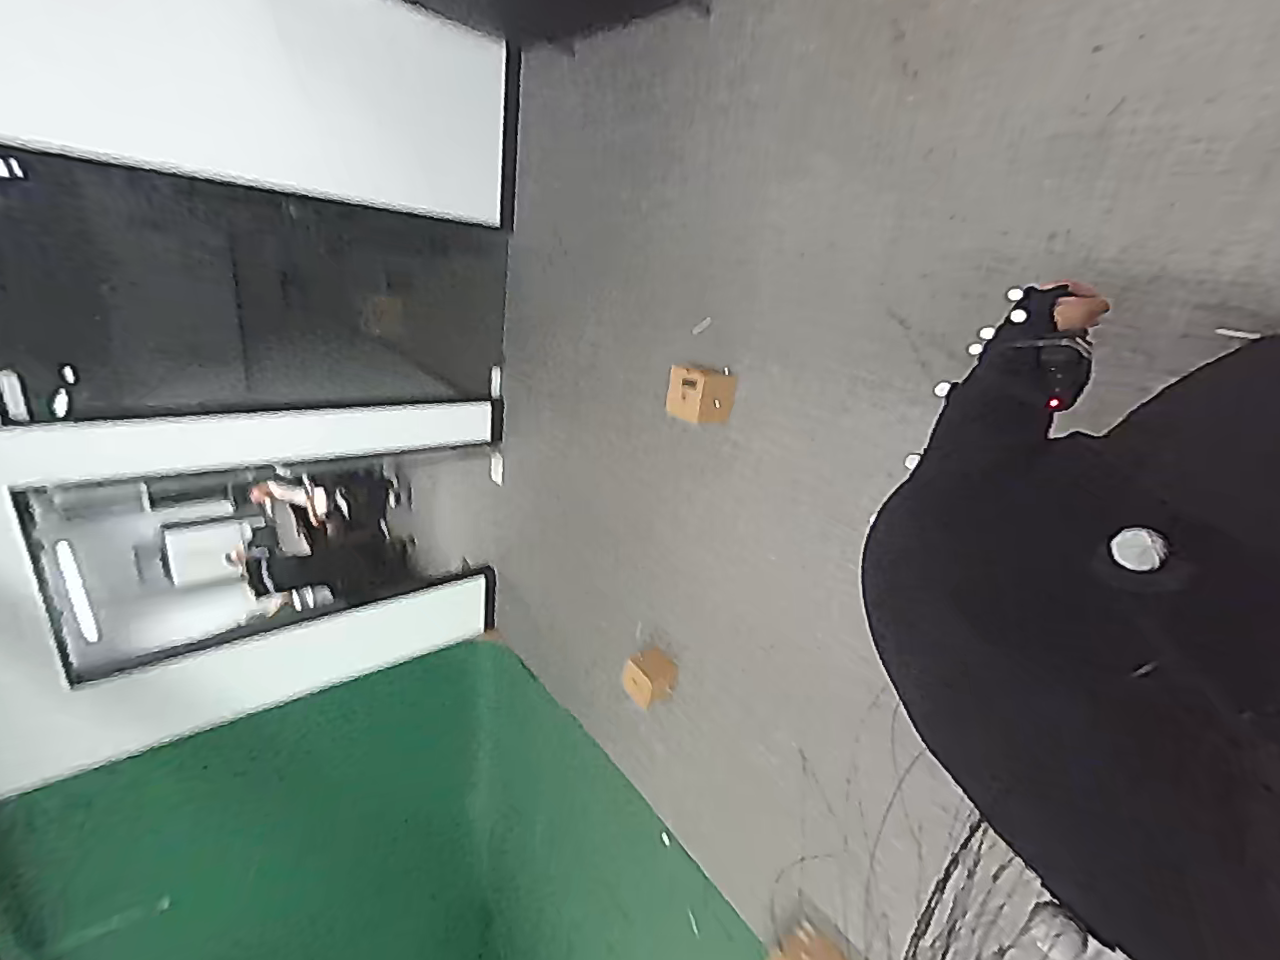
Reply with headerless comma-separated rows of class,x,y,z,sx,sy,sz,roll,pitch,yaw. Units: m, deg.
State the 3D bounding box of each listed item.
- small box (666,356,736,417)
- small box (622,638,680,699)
small box,0.221,-0.340,1.938,0.168,0.176,0.179,31,122,41
small box,0.048,0.829,2.406,0.179,0.176,0.168,36,125,39
